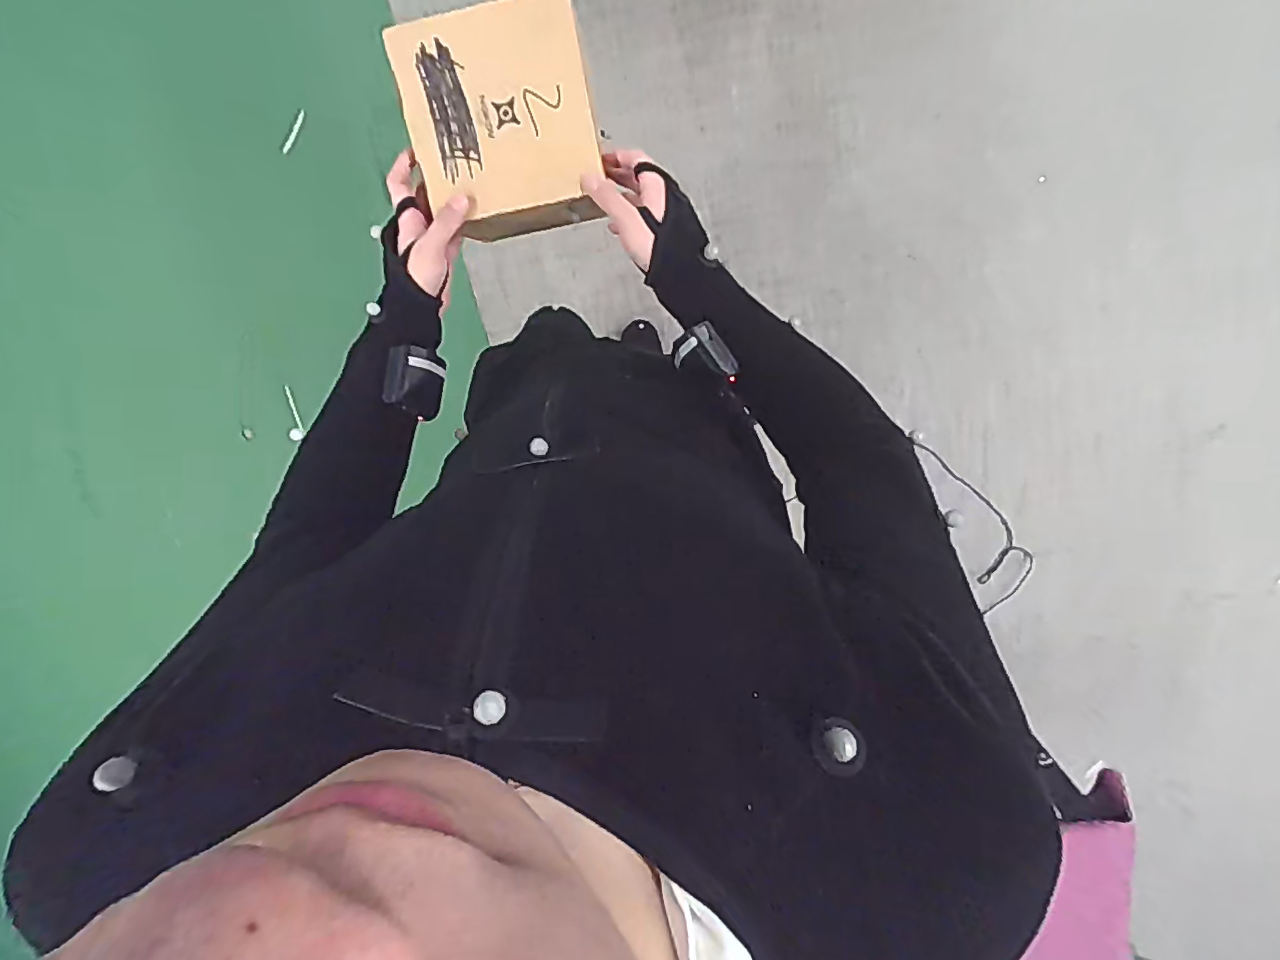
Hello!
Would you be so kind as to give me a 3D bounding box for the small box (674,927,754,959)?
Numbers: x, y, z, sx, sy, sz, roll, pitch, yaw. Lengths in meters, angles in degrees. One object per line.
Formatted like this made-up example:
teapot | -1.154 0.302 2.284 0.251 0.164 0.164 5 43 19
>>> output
small box | 0.168 1.118 1.174 0.179 0.176 0.168 -8 108 4
